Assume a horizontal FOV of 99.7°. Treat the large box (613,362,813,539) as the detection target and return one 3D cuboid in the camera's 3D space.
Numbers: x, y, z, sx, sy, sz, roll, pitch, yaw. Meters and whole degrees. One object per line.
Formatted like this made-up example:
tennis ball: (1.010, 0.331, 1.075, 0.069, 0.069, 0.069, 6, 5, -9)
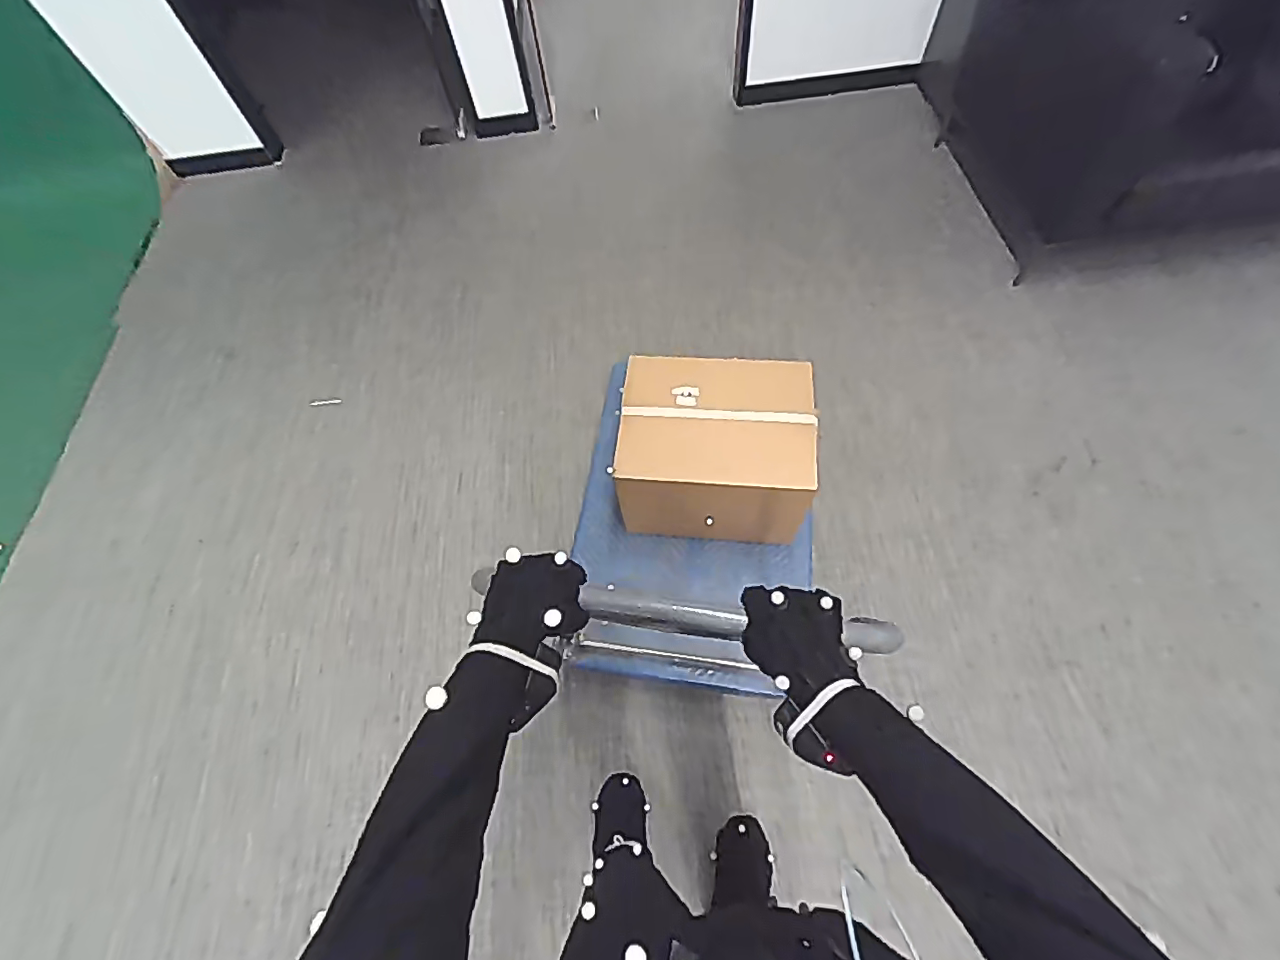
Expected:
large box: (0.168, -0.060, 1.276, 0.408, 0.320, 0.320, 3, 63, 7)
